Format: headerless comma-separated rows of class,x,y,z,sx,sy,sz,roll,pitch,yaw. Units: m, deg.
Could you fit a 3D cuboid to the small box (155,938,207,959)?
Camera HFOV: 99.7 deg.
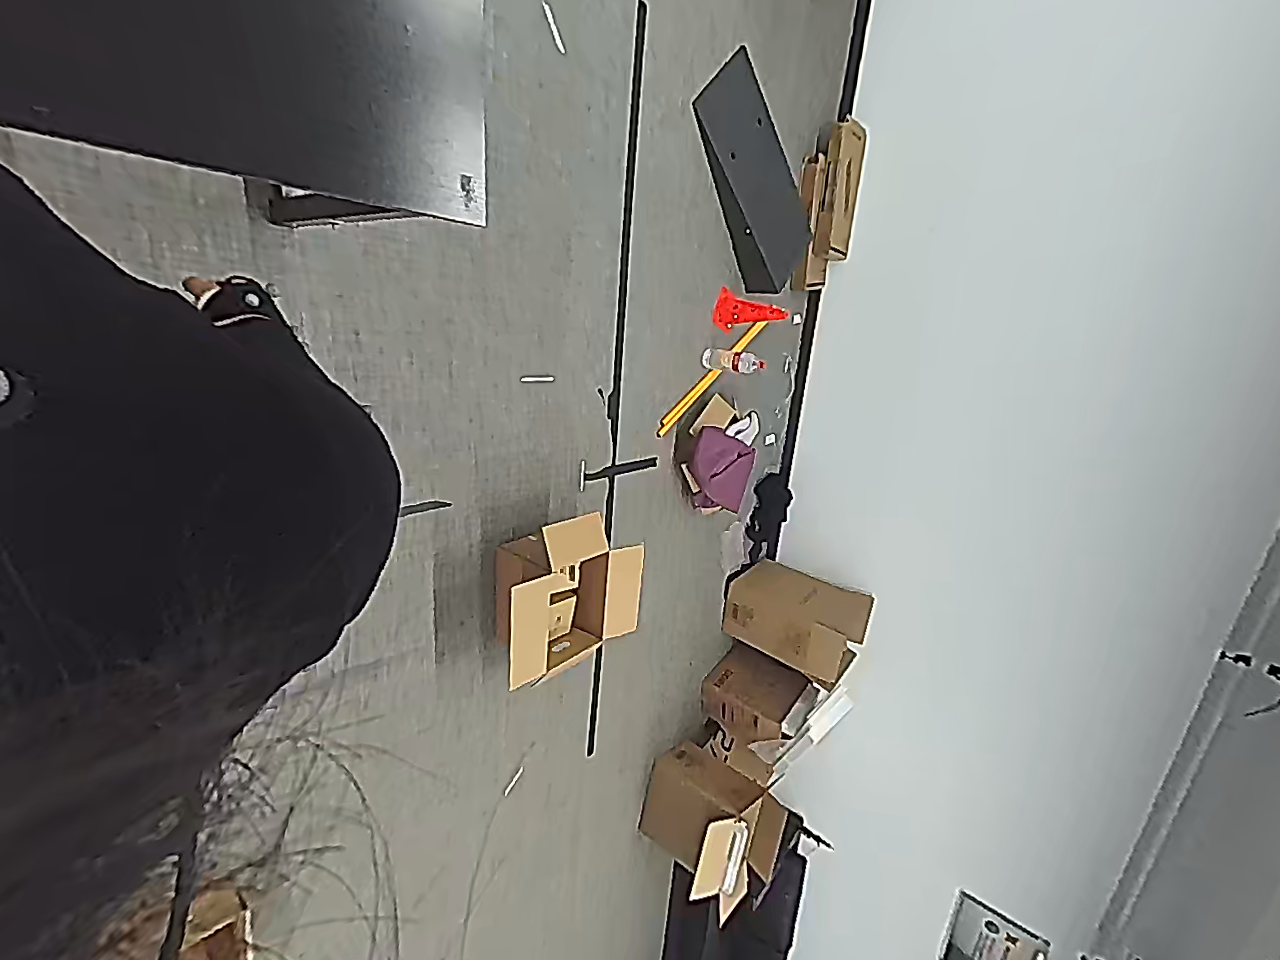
small box,-1.206,1.337,1.375,0.179,0.176,0.168,-9,109,-50
